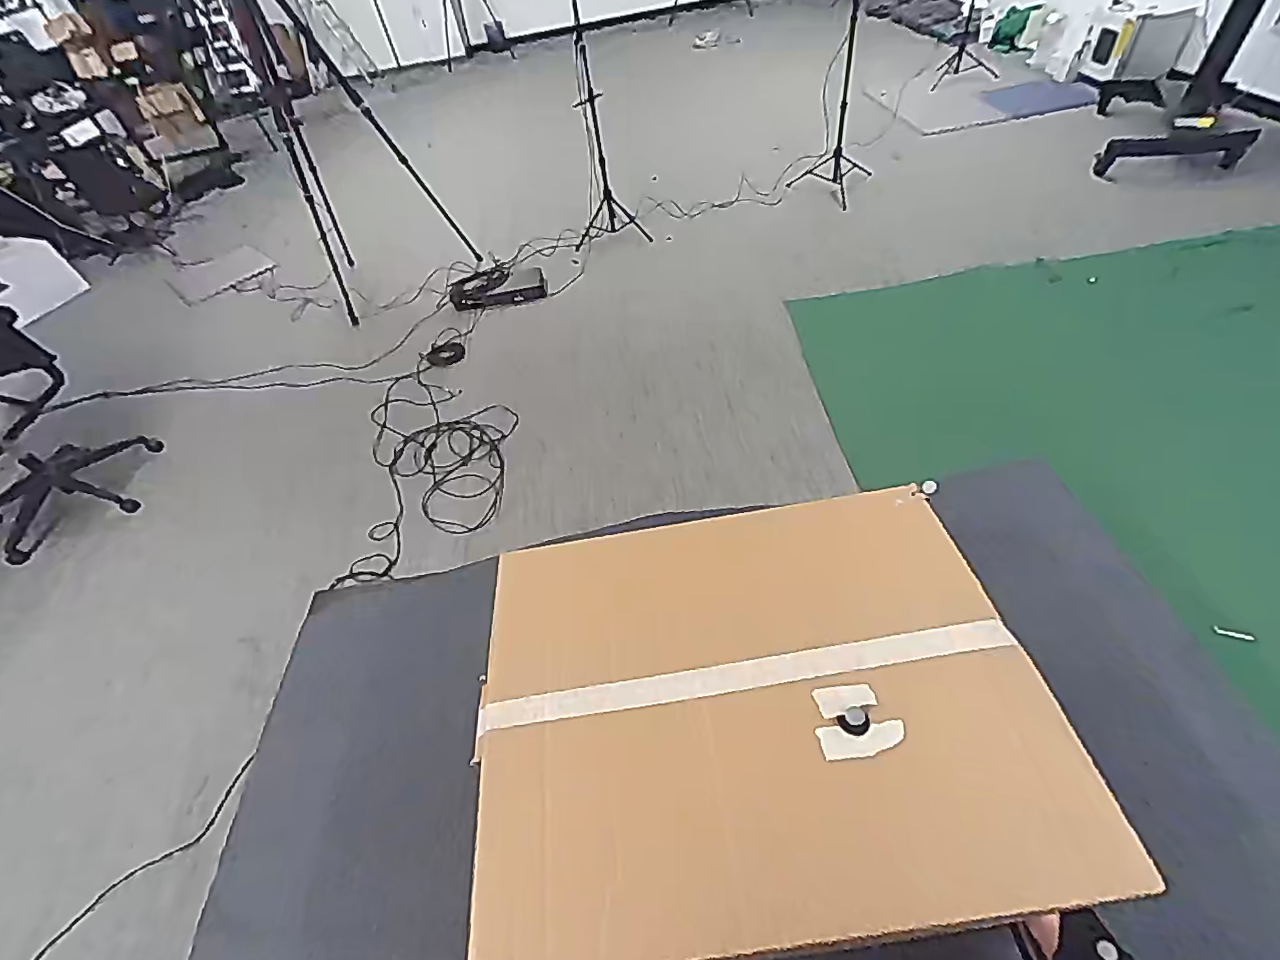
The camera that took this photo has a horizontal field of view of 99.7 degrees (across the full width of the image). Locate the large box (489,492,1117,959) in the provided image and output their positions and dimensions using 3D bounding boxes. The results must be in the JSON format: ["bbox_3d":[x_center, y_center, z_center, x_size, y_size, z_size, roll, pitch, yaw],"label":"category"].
[{"bbox_3d":[0.100,0.256,0.540,0.408,0.320,0.320,-10,48,1],"label":"large box"}]
